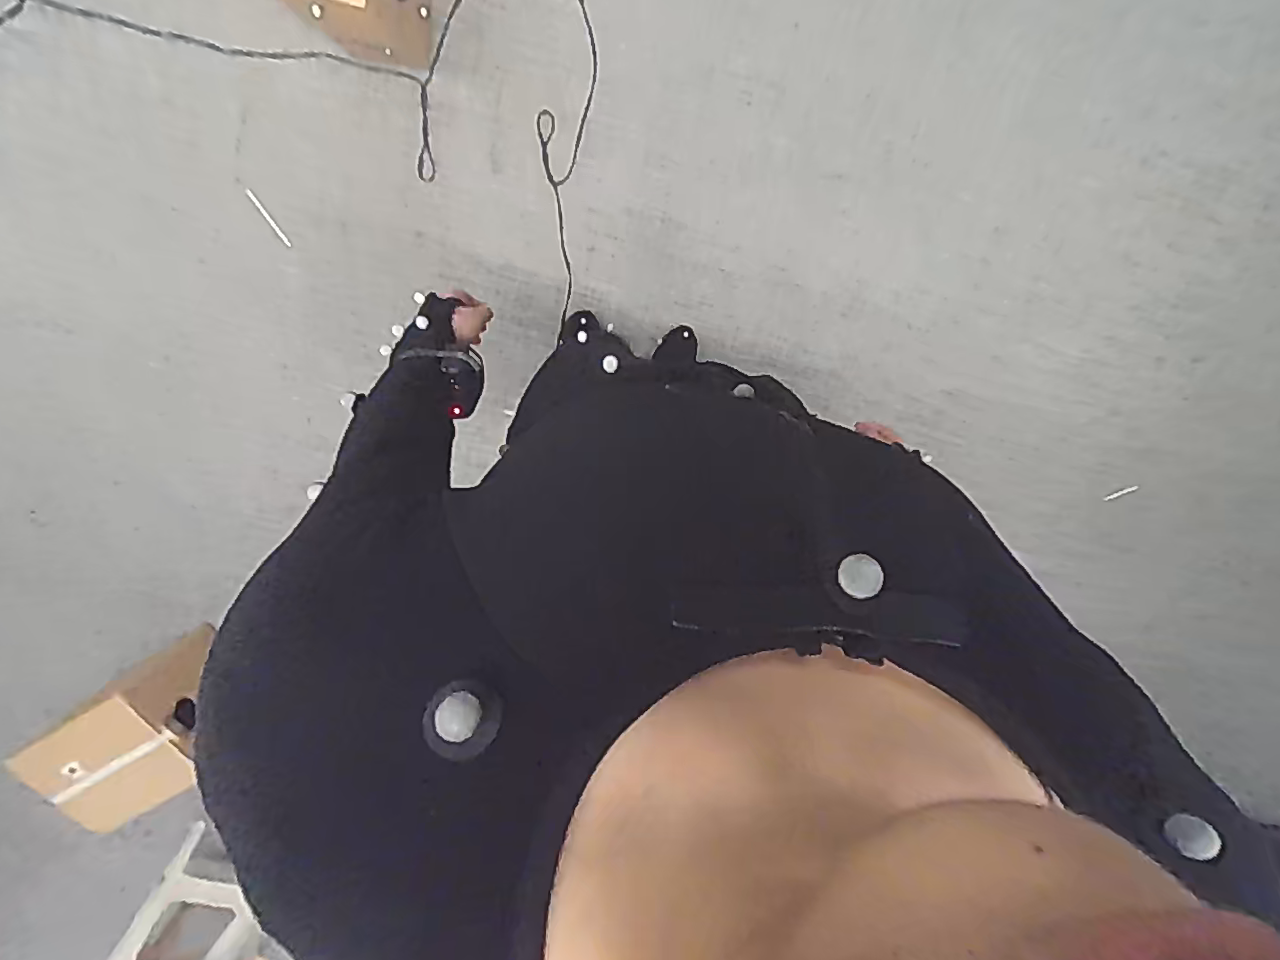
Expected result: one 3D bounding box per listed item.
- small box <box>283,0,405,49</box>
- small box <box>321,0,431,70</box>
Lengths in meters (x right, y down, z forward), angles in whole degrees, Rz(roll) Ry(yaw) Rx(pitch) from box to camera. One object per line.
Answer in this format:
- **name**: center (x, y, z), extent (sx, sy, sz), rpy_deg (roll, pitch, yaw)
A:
- **small box**: center (-0.528, -0.893, 0.940), extent (0.179, 0.176, 0.168), rpy_deg (10, 108, -6)
- **small box**: center (-0.533, -0.962, 1.089), extent (0.179, 0.176, 0.168), rpy_deg (7, 107, -4)
